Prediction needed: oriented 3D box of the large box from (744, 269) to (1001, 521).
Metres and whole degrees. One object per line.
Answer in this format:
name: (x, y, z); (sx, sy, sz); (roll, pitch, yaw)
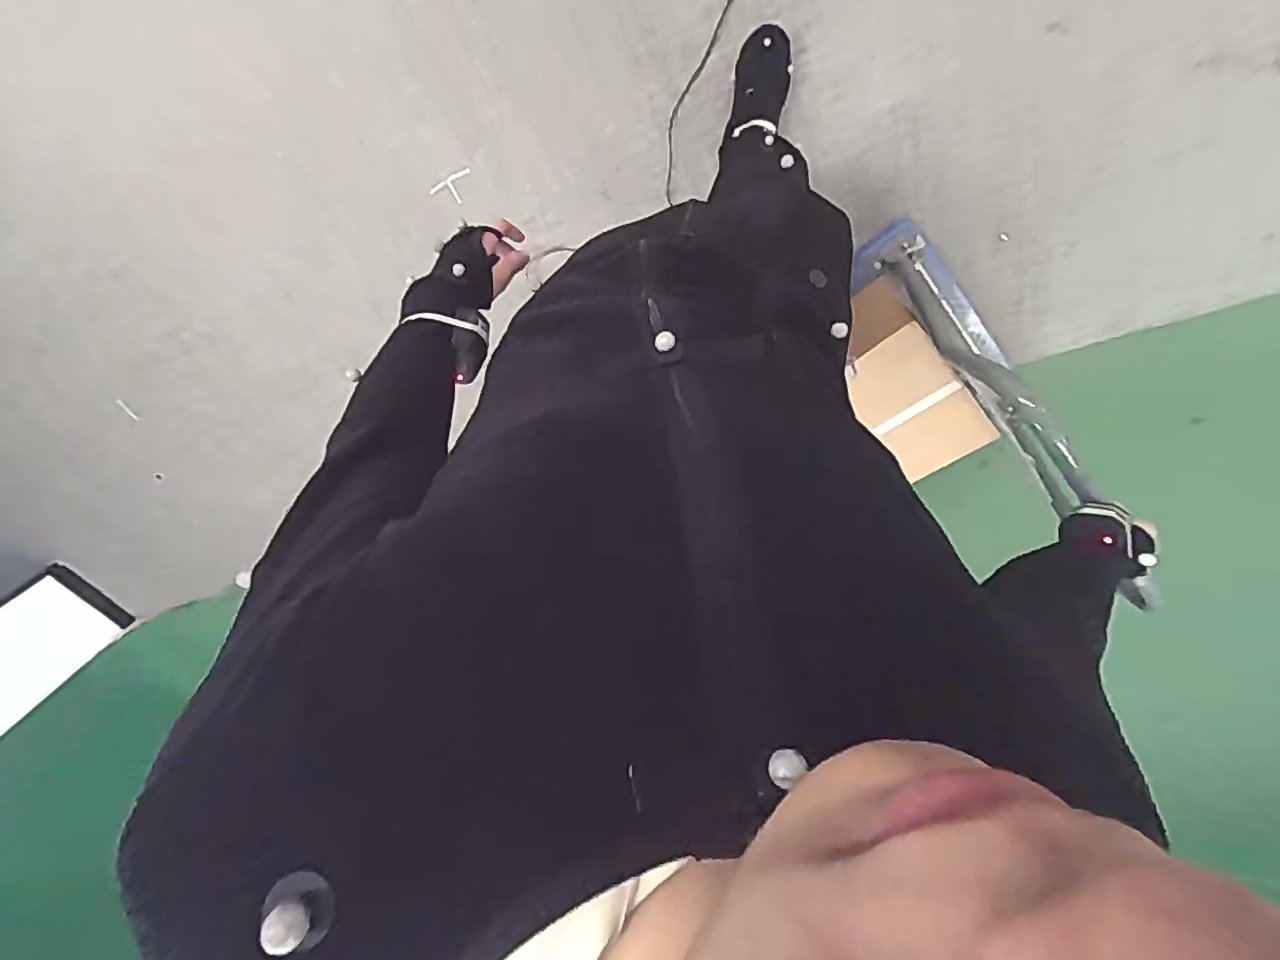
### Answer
large box: (0.487, -0.187, 1.217); (0.320, 0.320, 0.408); (42, 124, -18)
